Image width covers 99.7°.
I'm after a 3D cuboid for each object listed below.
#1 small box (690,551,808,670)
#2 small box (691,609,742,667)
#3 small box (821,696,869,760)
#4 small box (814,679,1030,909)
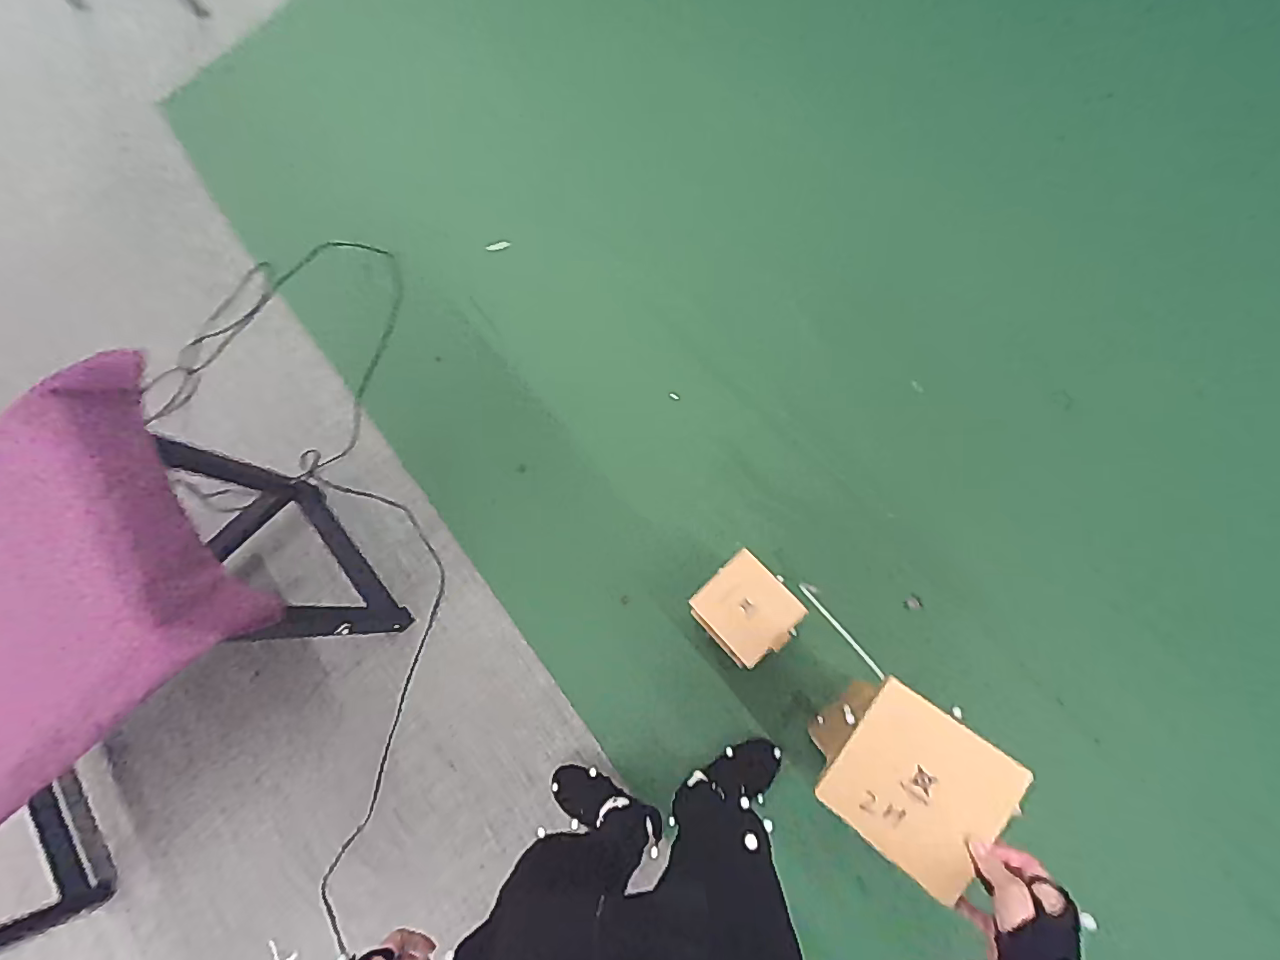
[{"bbox_3d":[0.230,0.277,1.157,0.168,0.176,0.179,-42,71,-3],"label":"small box"},{"bbox_3d":[0.247,0.329,1.310,0.179,0.176,0.168,-42,72,-3],"label":"small box"},{"bbox_3d":[0.469,0.535,1.041,0.179,0.176,0.168,-39,73,1],"label":"small box"},{"bbox_3d":[0.343,0.373,0.688,0.168,0.176,0.179,34,88,28],"label":"small box"}]
